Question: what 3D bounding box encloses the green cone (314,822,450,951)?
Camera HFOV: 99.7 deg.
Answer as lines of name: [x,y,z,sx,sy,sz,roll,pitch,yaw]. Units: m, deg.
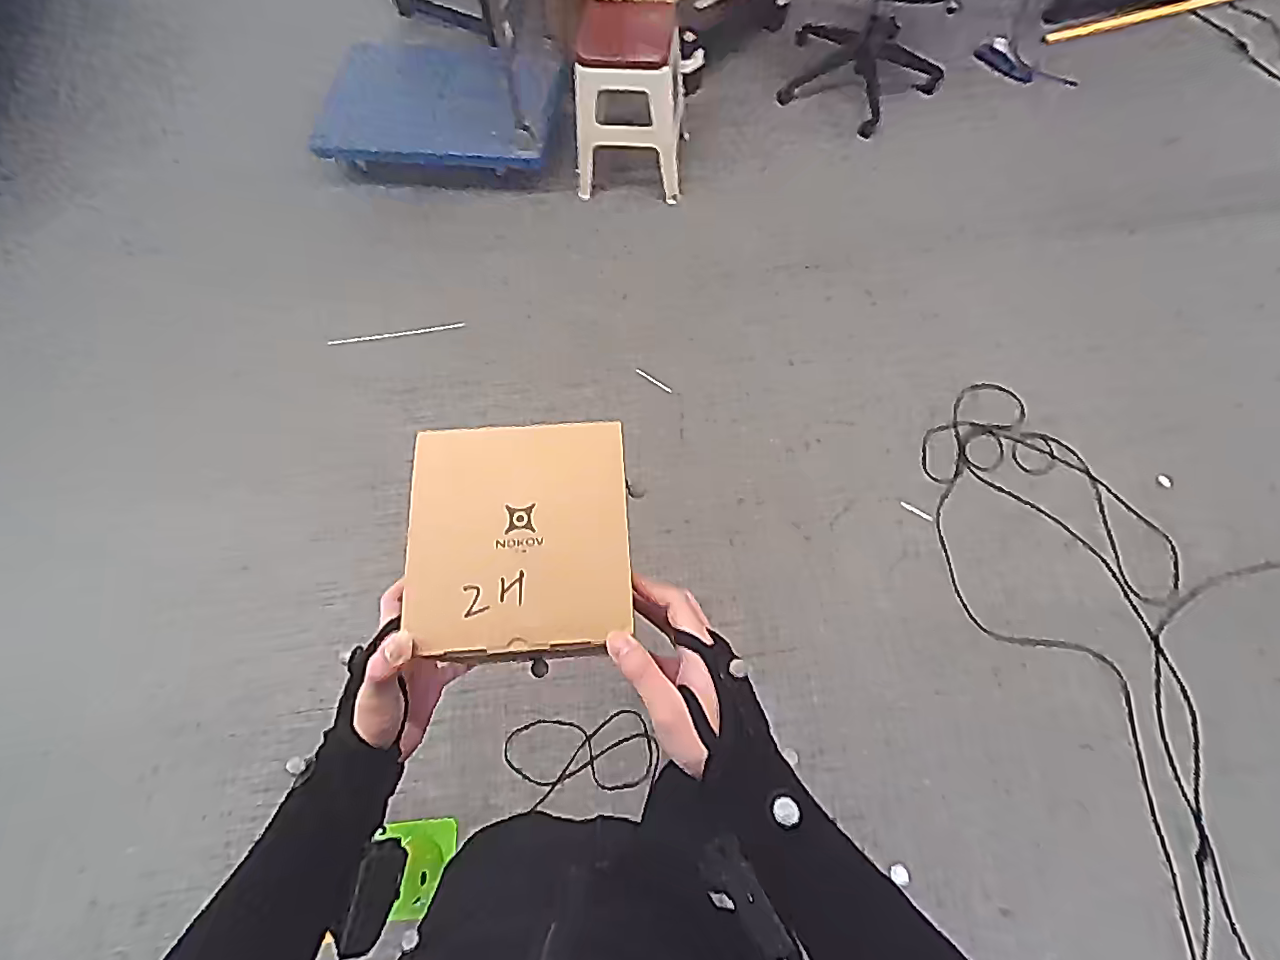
green cone: [-0.550,0.864,1.106,0.202,0.368,0.200,-6,69,-1]
